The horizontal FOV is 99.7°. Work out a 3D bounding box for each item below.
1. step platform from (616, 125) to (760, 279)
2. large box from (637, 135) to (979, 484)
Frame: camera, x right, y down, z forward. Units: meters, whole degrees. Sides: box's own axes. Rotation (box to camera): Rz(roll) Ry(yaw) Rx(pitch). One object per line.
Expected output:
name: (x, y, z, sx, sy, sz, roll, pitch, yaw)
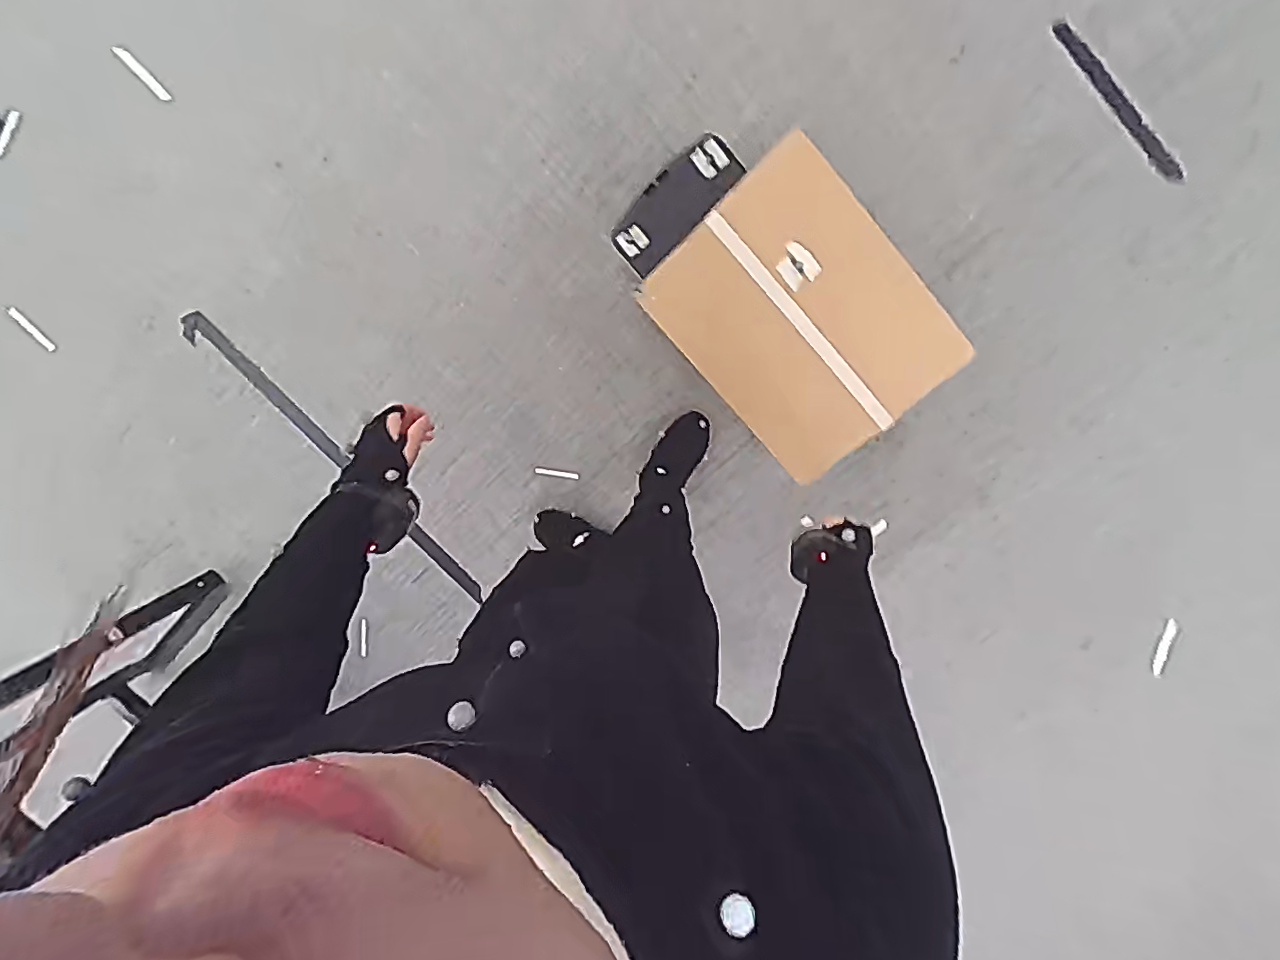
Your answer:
step platform: (0.249, -0.364, 1.150, 0.286, 0.204, 0.684, -35, 98, 17)
large box: (0.262, -0.267, 0.925, 0.320, 0.320, 0.408, -41, 96, 17)
